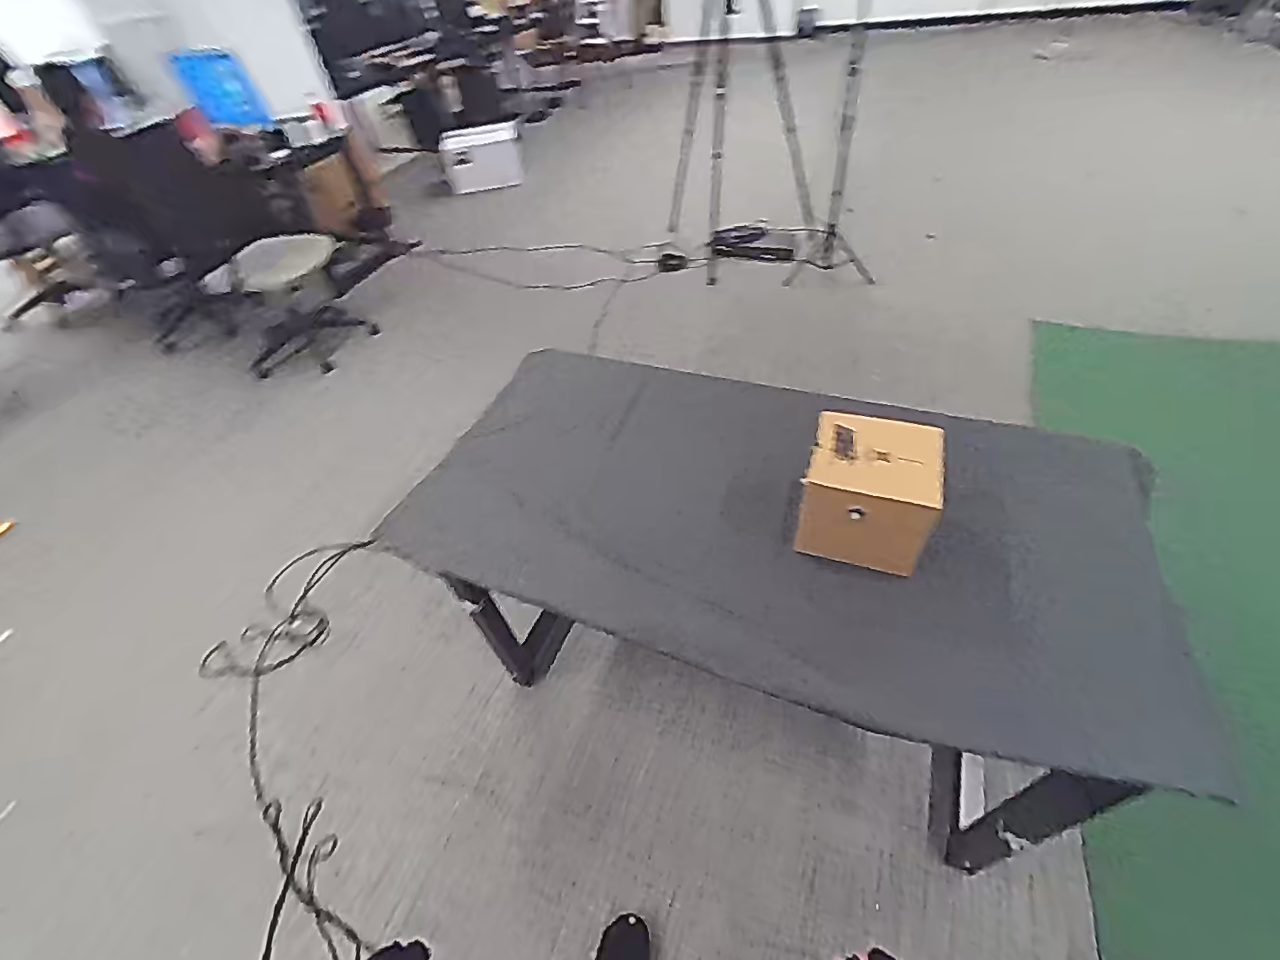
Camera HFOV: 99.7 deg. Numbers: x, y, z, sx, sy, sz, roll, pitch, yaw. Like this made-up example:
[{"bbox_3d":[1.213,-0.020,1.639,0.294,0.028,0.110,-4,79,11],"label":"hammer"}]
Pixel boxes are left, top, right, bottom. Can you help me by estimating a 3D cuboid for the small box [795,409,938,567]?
[{"bbox_3d":[0.348,0.014,0.847,0.179,0.176,0.168,12,50,18],"label":"small box"}]
